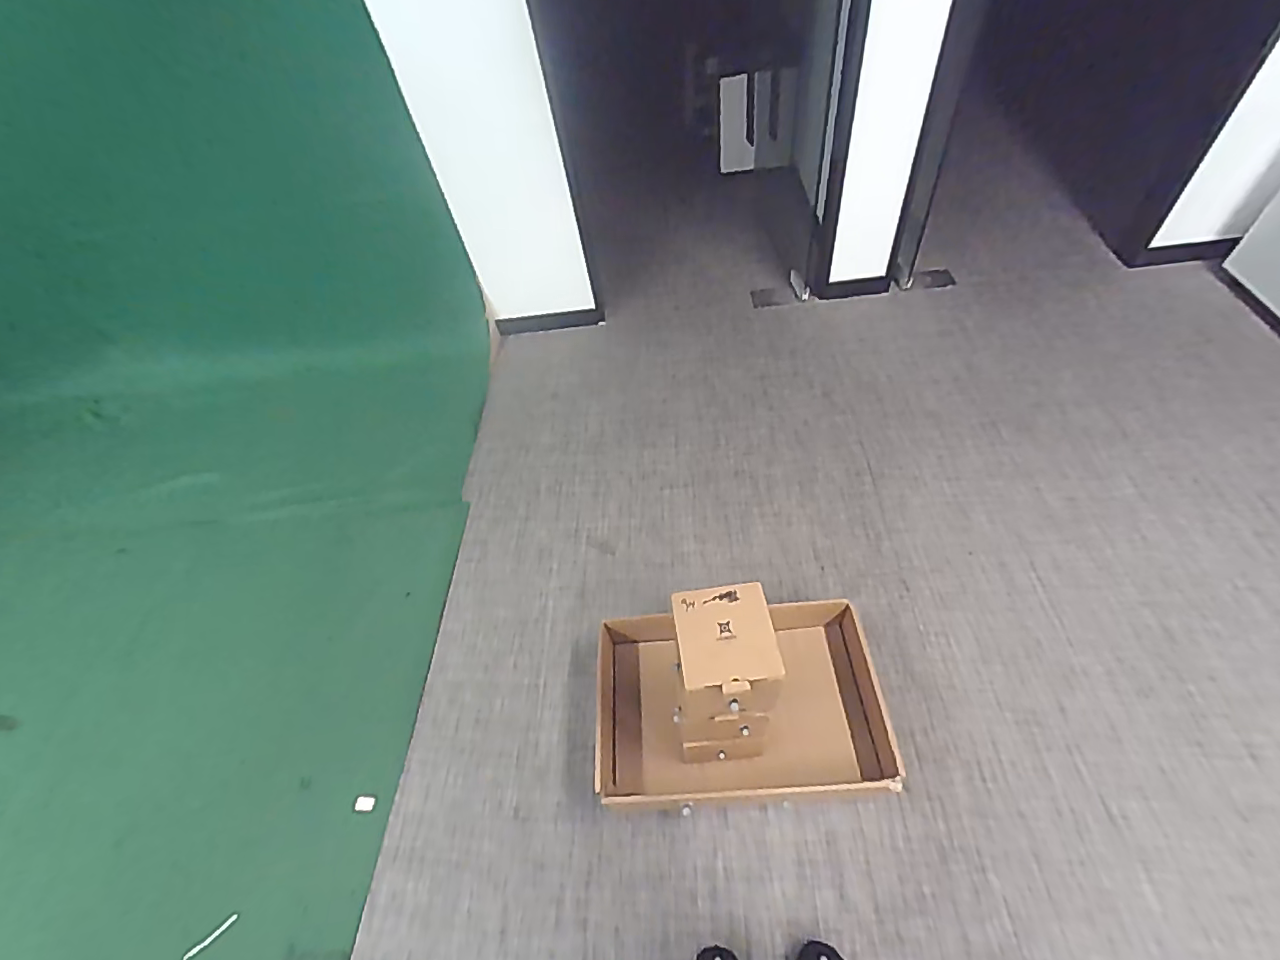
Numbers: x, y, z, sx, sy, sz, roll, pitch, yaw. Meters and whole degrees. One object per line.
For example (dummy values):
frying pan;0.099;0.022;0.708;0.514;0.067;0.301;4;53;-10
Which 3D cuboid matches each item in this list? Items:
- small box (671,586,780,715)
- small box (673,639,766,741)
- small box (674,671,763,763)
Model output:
small box;0.149;0.315;0.981;0.168;0.176;0.179;-6;51;2
small box;0.158;0.422;1.104;0.168;0.176;0.179;-4;49;3
small box;0.174;0.530;1.223;0.179;0.176;0.168;-7;50;4
